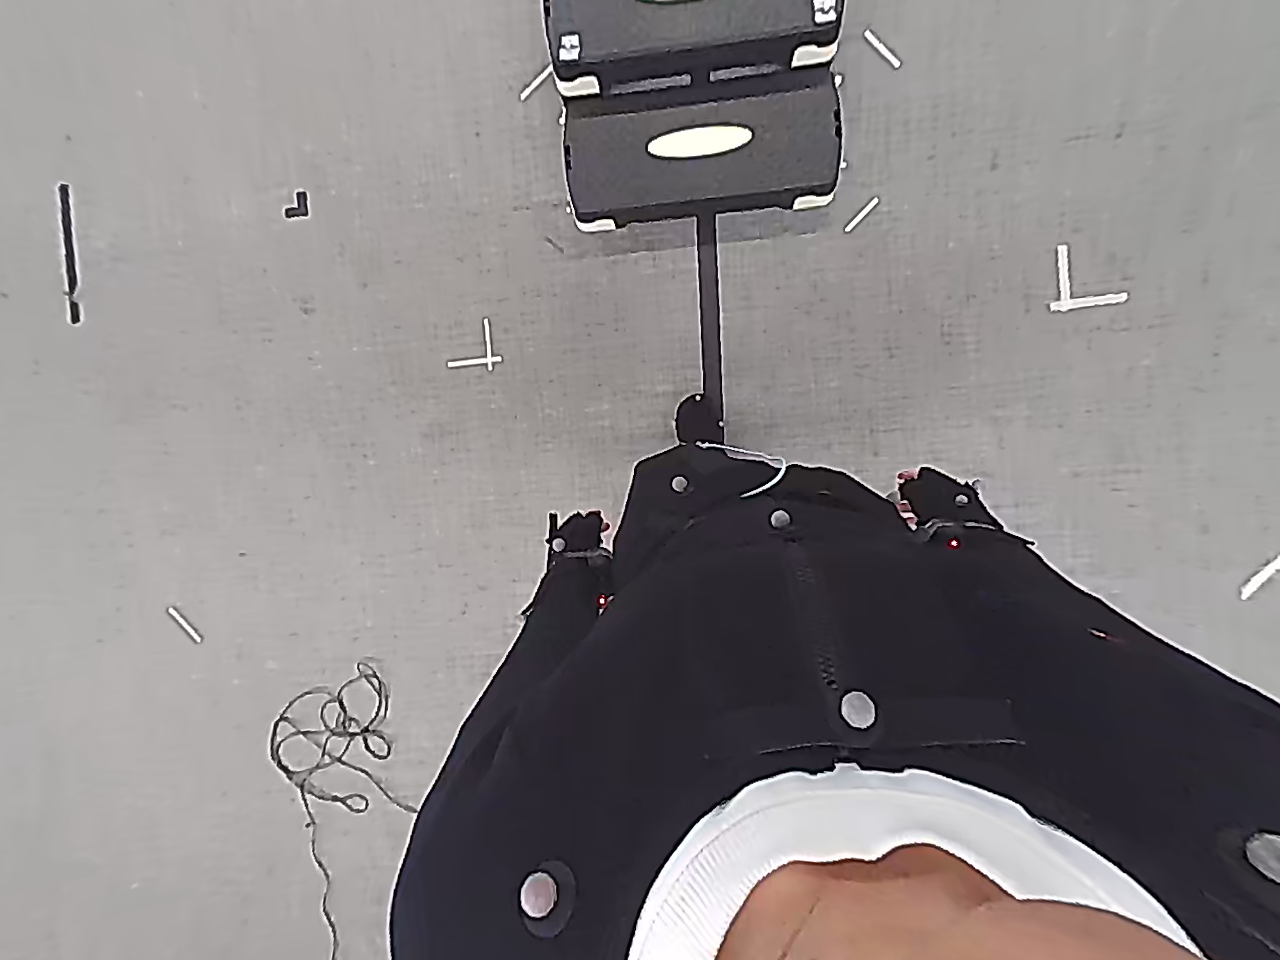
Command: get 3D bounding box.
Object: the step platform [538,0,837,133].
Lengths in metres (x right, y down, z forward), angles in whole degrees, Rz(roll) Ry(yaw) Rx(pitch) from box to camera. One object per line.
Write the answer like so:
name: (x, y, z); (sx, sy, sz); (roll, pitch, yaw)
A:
step platform: (0.105, -1.062, 1.282); (0.684, 0.204, 0.286); (-5, 94, 5)
